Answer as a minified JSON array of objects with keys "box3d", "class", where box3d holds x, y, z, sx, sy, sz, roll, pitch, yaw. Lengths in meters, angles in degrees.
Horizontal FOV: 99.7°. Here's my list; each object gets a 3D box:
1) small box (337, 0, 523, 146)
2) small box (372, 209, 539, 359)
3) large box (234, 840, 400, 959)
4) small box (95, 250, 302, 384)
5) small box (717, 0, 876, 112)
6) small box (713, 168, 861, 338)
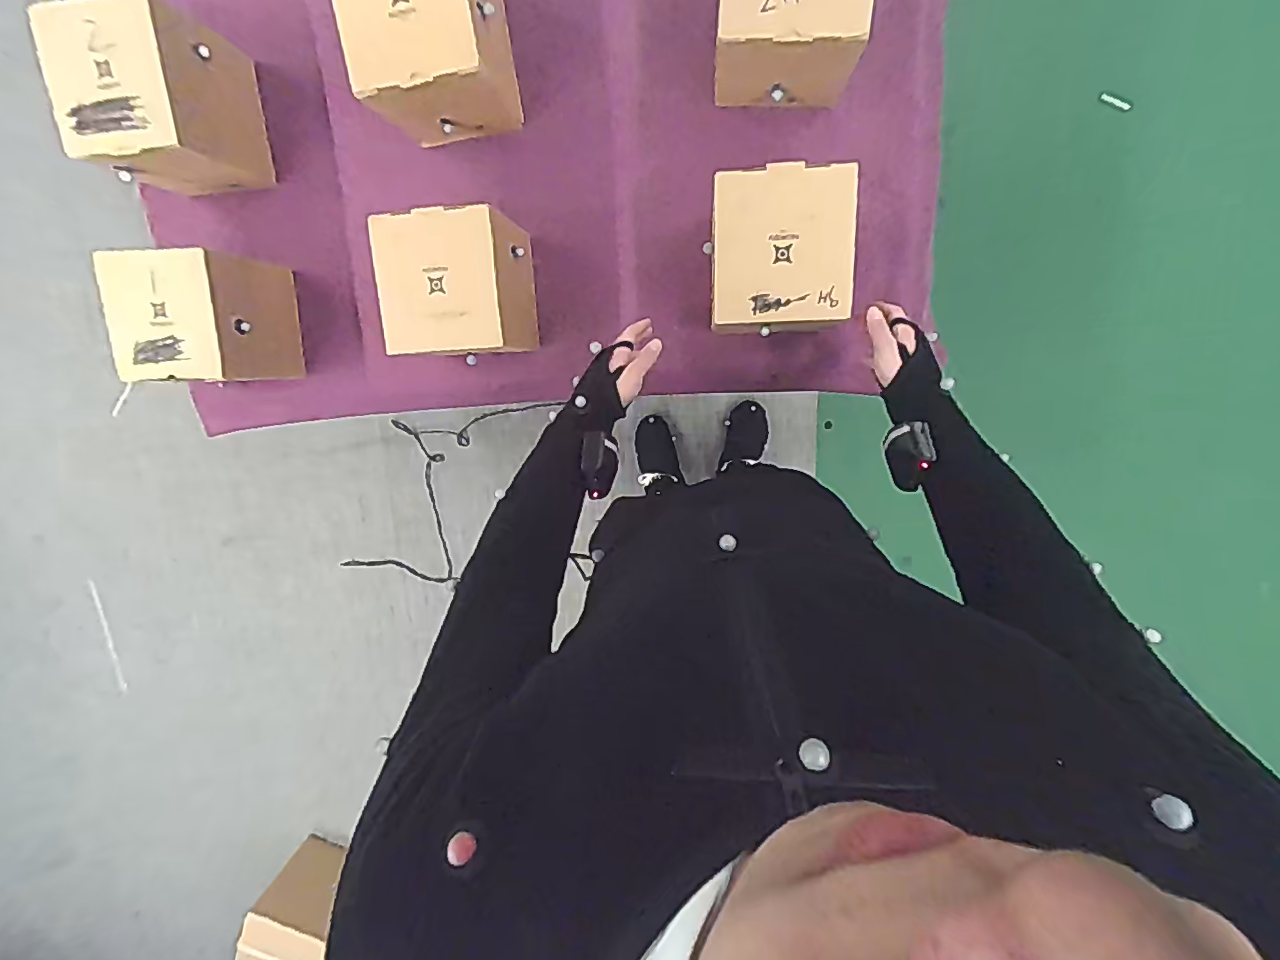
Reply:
[{"box3d":[-0.266,-0.572,0.706,0.168,0.176,0.179,-7,103,7],"class":"small box"},{"box3d":[-0.250,-0.267,0.773,0.168,0.176,0.179,-1,102,7],"class":"small box"},{"box3d":[-1.180,1.627,1.990,0.408,0.320,0.320,21,105,0],"class":"large box"},{"box3d":[-0.647,-0.238,0.817,0.168,0.176,0.179,1,101,5],"class":"small box"},{"box3d":[0.184,-0.582,0.655,0.168,0.176,0.179,4,104,6],"class":"small box"},{"box3d":[0.184,-0.288,0.722,0.168,0.176,0.179,0,101,7],"class":"small box"}]
